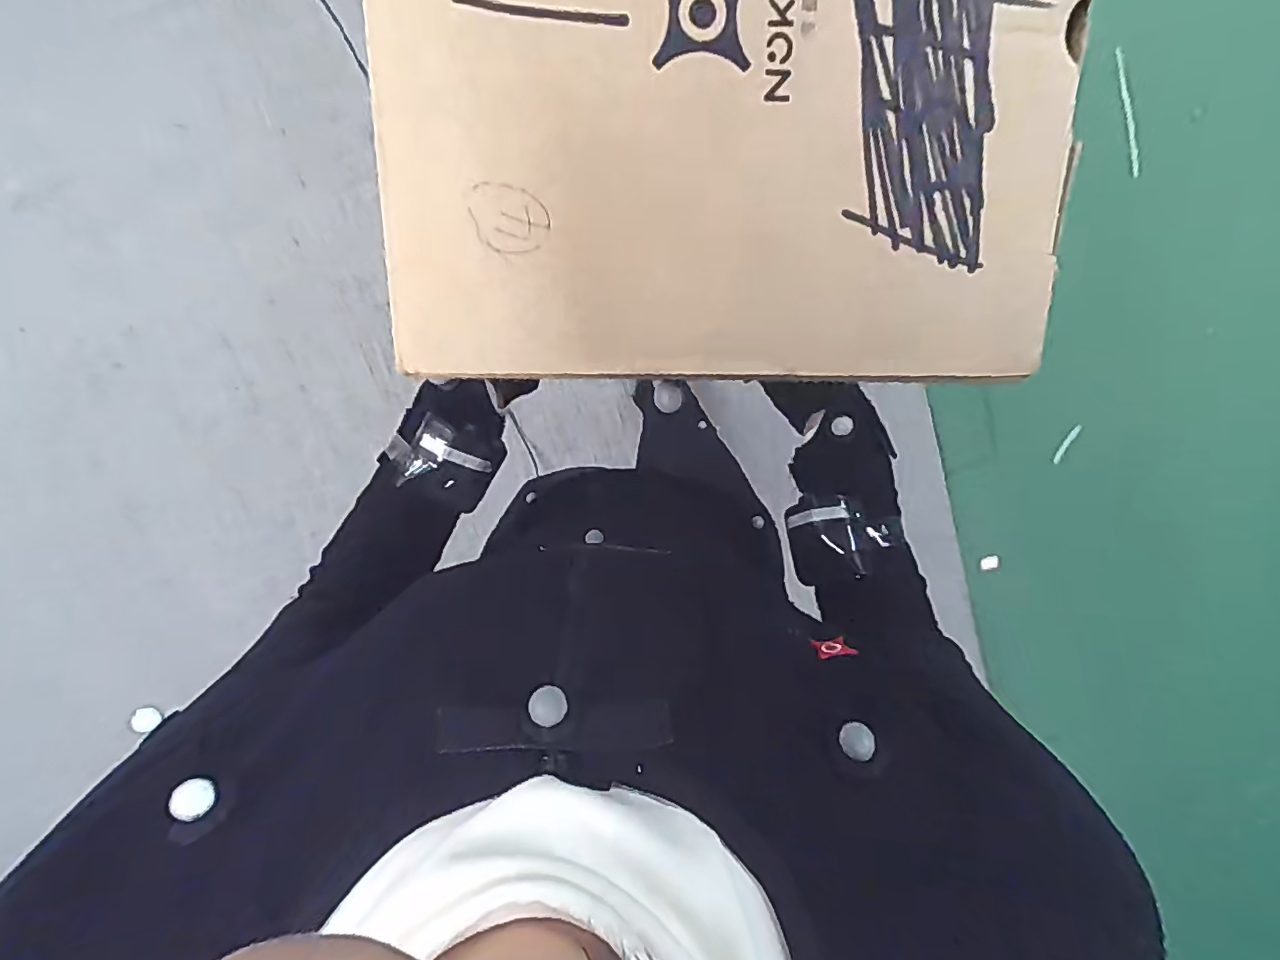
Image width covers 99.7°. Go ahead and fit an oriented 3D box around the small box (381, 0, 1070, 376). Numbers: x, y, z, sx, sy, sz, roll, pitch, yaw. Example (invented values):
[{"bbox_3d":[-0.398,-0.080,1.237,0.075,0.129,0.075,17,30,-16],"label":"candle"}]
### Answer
[{"bbox_3d":[0.019,-0.132,0.212,0.179,0.176,0.168,-4,104,-3],"label":"small box"}]
